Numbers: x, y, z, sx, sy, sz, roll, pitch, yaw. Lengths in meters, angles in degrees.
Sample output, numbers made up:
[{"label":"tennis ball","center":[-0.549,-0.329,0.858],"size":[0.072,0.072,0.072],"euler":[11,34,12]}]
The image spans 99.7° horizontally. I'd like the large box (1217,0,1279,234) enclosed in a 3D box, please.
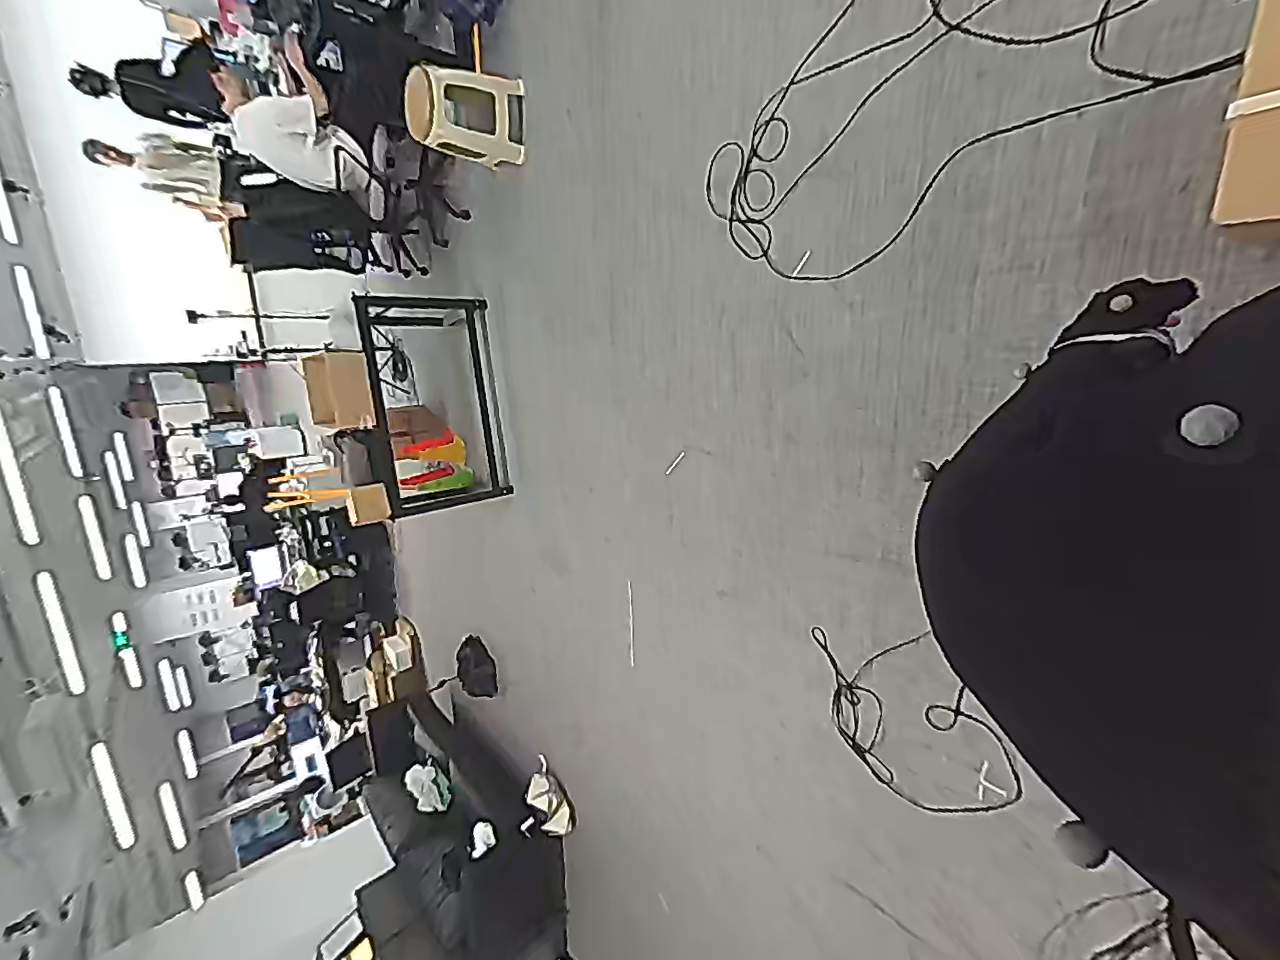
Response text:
[{"label":"large box","center":[1.090,-0.538,0.716],"size":[0.408,0.320,0.320],"euler":[14,113,48]}]
